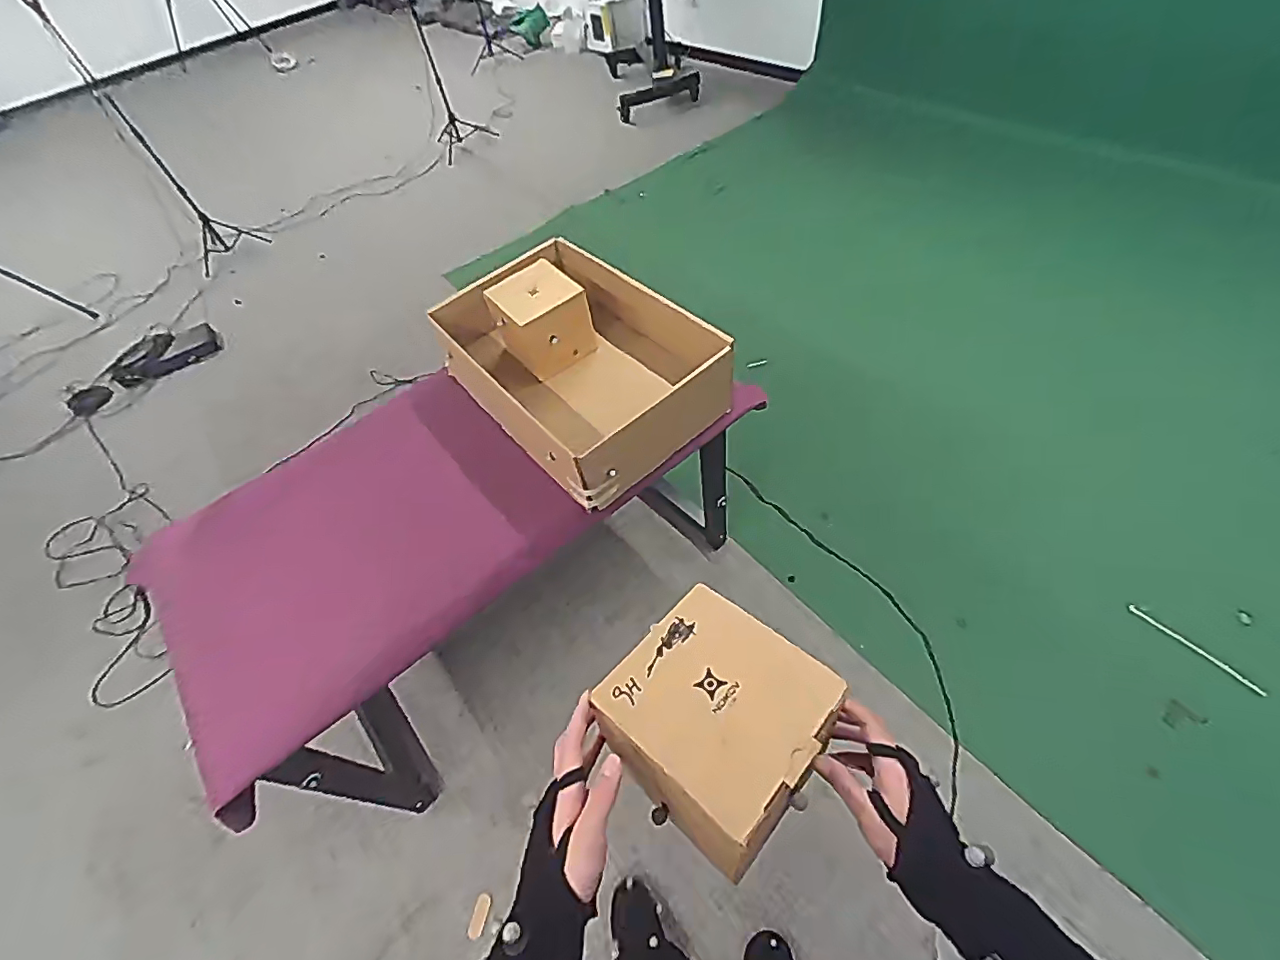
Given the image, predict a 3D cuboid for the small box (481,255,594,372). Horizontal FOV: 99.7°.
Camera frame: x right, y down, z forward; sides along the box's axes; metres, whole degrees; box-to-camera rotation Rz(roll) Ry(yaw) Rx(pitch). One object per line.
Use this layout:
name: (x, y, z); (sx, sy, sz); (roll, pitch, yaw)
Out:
small box: (-0.228, -0.375, 1.242); (0.168, 0.176, 0.179); (-36, 58, -15)
